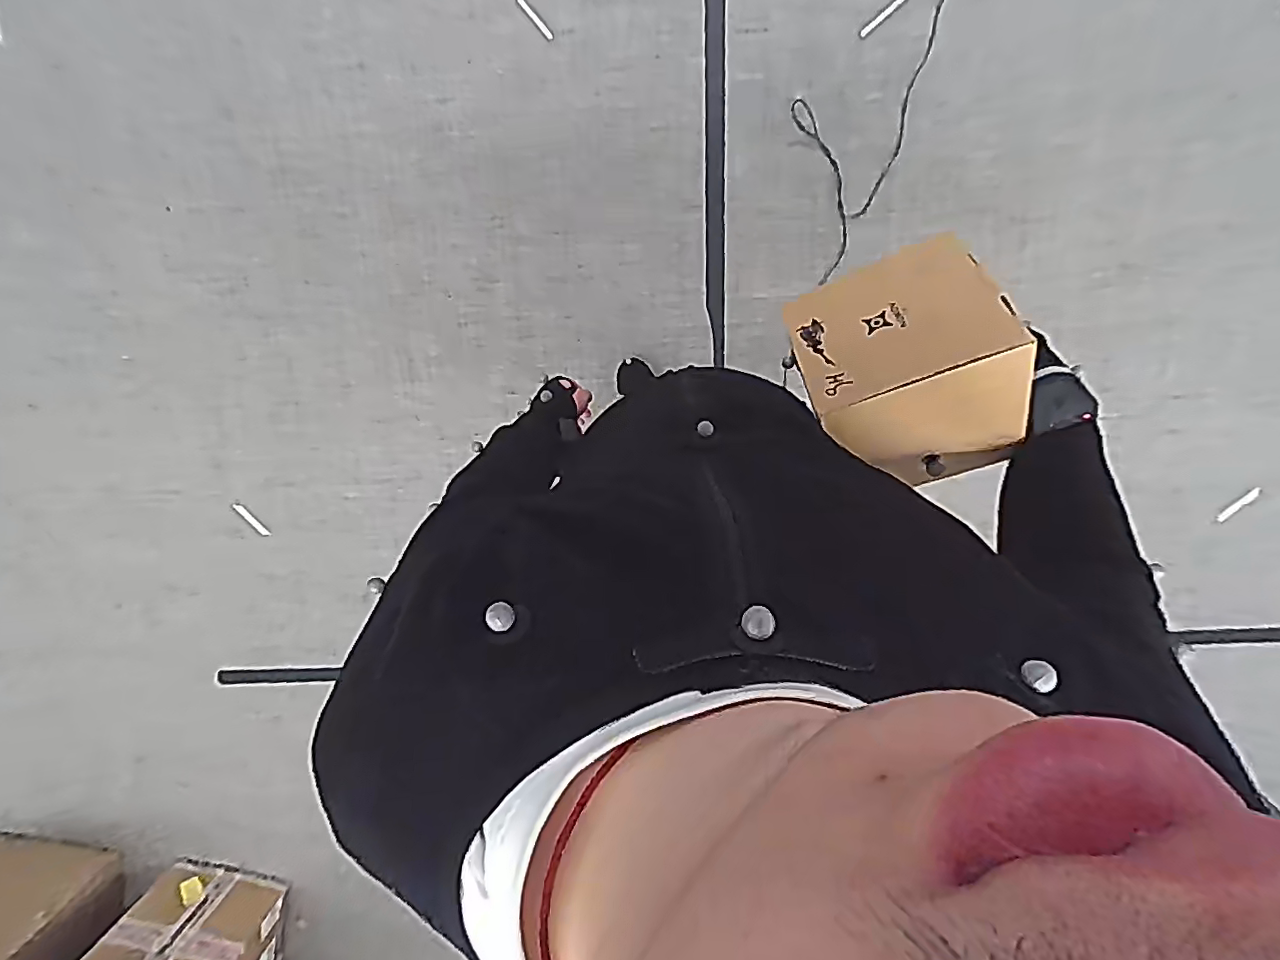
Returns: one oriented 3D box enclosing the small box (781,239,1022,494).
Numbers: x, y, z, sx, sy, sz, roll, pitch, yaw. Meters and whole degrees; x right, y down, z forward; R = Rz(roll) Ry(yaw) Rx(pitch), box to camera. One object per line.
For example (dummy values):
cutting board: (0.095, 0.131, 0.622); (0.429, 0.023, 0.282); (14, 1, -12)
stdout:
small box: (0.269, -0.110, 0.579); (0.179, 0.168, 0.176); (-18, 140, 19)
